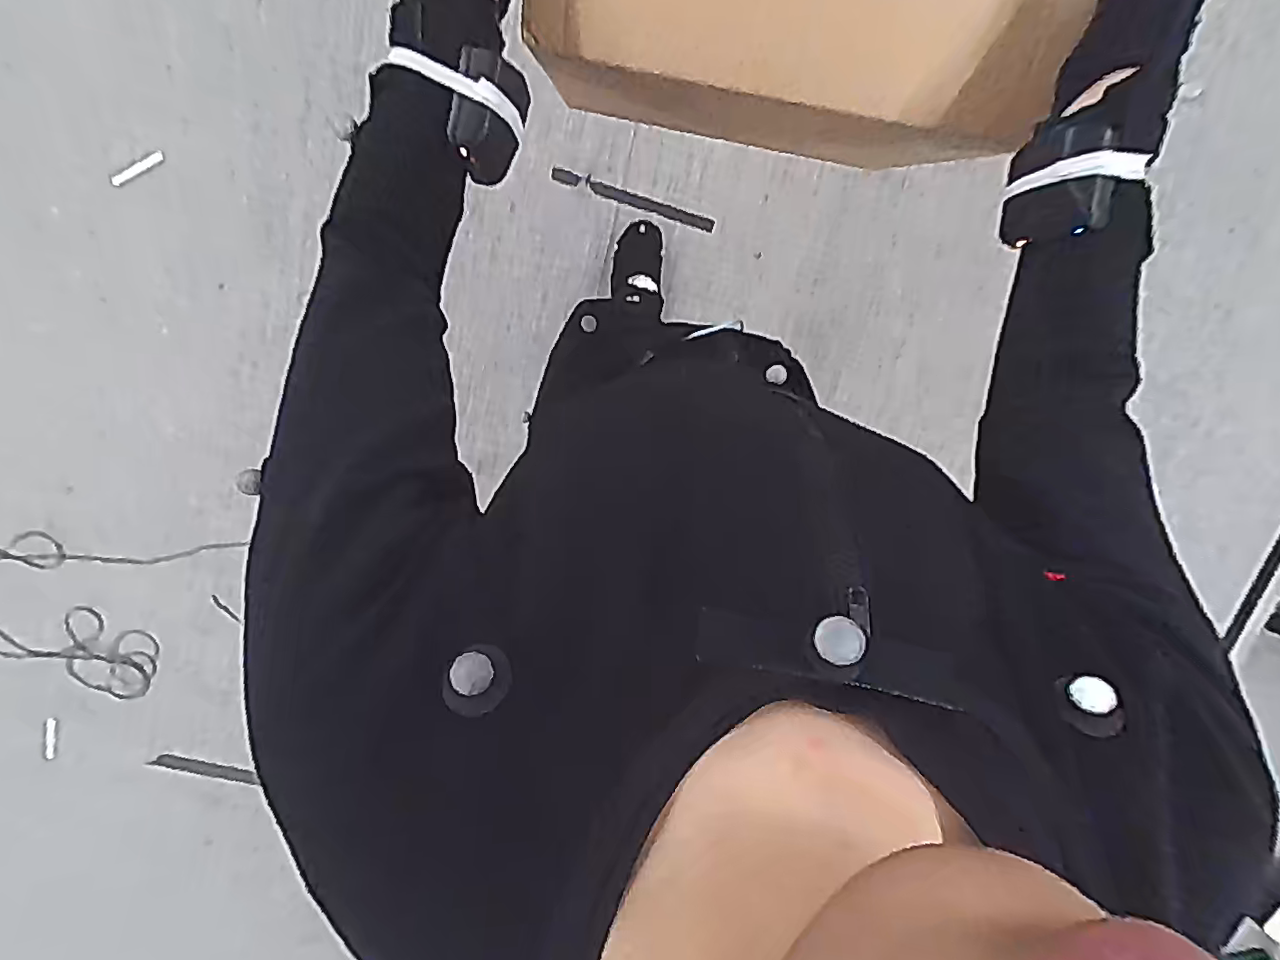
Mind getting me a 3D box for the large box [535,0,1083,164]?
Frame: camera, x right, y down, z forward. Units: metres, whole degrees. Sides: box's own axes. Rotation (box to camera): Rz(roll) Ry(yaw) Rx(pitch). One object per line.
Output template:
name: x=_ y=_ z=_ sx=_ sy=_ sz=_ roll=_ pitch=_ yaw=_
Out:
large box: x=0.134 y=-0.500 z=0.482 sx=0.408 sy=0.320 sz=0.320 roll=8 pitch=117 yaw=-6
